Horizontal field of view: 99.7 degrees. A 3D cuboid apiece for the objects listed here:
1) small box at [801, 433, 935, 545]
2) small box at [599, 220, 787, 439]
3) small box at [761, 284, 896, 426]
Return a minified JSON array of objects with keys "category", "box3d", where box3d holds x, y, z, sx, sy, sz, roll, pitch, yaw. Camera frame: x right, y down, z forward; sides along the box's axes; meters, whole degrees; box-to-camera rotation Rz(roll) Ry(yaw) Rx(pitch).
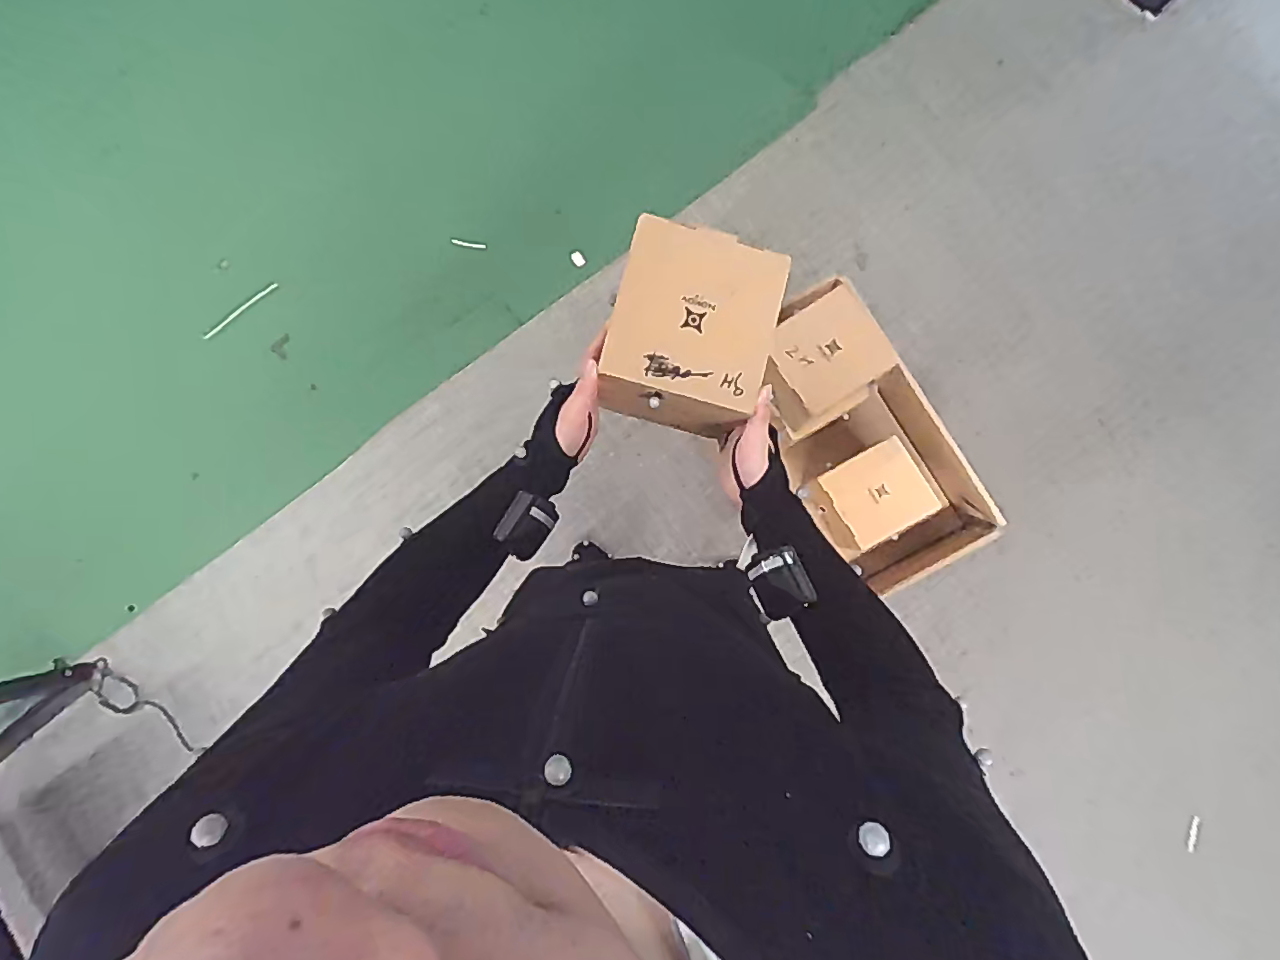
[{"category":"small box","box3d":[0.468,0.020,1.140,0.179,0.176,0.168,-30,85,3]},{"category":"small box","box3d":[0.049,-0.159,0.634,0.168,0.176,0.179,15,85,-4]},{"category":"small box","box3d":[0.325,-0.220,0.999,0.179,0.176,0.168,-33,84,2]}]
